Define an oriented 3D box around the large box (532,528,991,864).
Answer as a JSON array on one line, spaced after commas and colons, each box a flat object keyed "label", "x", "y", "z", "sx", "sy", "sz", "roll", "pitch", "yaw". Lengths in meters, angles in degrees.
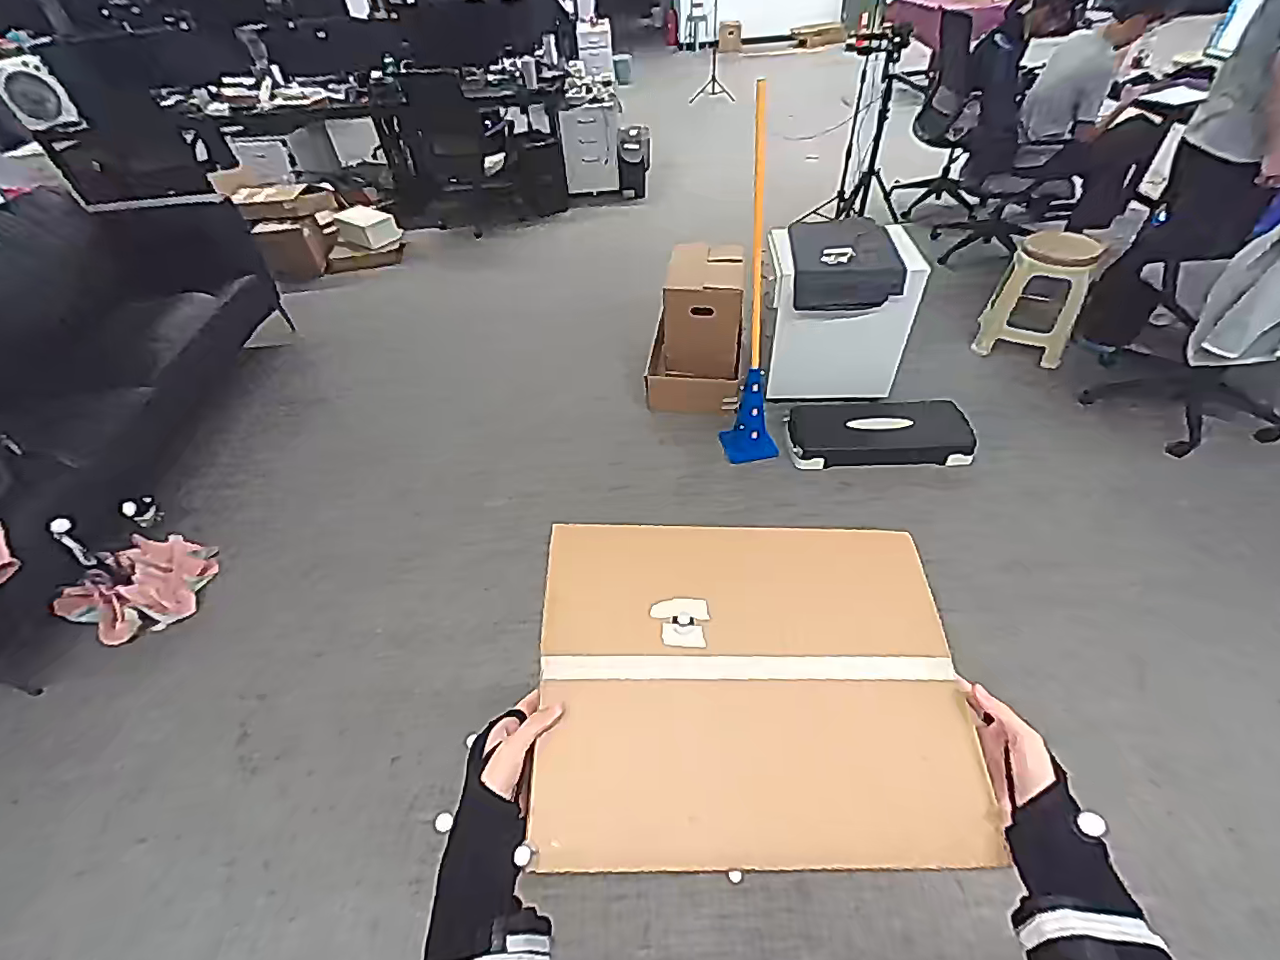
[{"label": "large box", "x": 0.100, "y": 0.265, "z": 0.660, "sx": 0.408, "sy": 0.320, "sz": 0.320, "roll": 1, "pitch": 57, "yaw": -2}]
